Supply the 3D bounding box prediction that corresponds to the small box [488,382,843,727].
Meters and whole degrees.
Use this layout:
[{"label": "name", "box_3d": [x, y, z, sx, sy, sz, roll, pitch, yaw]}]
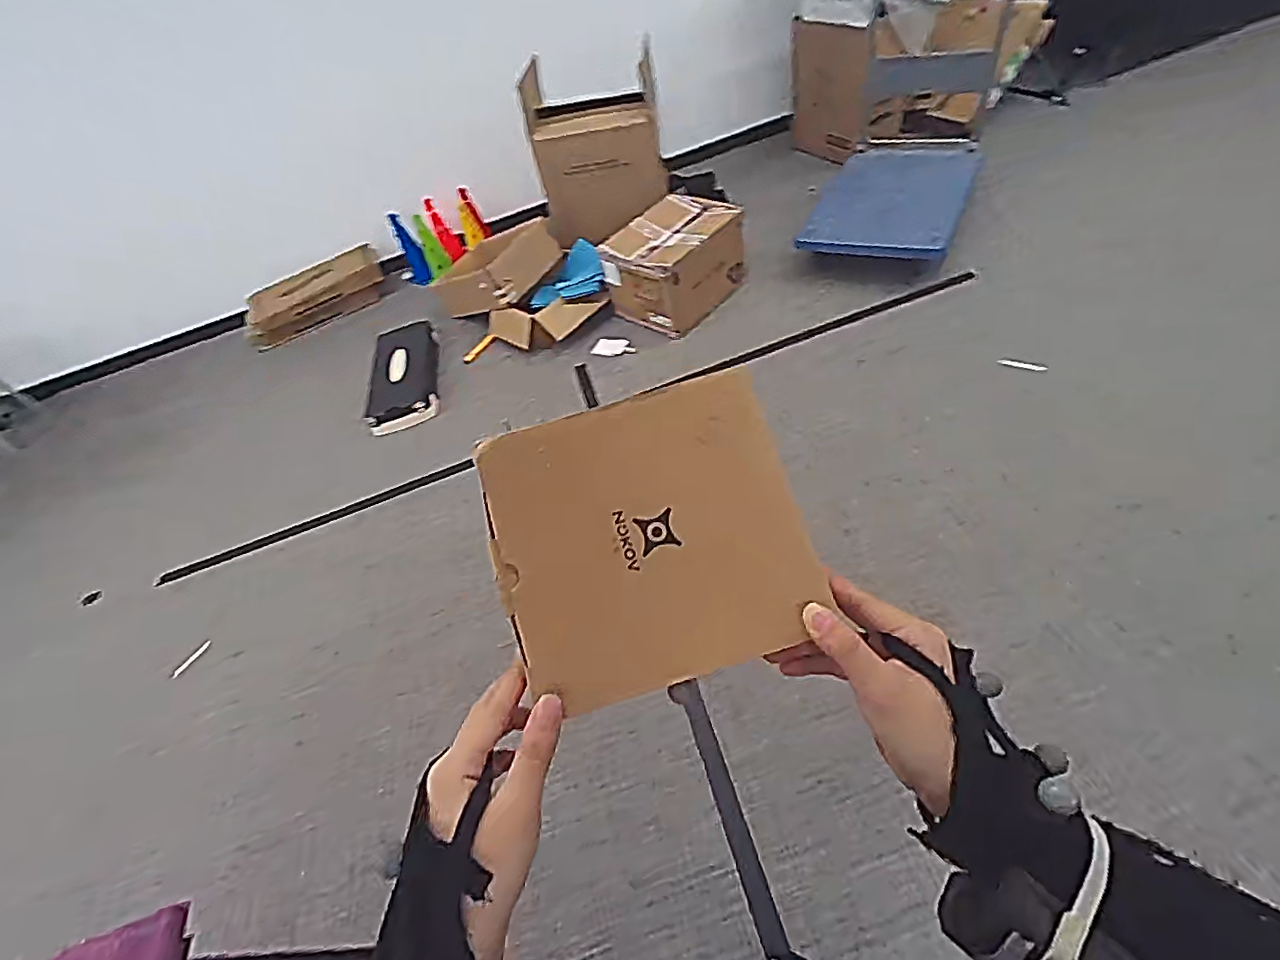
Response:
[{"label": "small box", "box_3d": [0.012, 0.053, 0.392, 0.179, 0.176, 0.168, -16, 77, -2]}]
